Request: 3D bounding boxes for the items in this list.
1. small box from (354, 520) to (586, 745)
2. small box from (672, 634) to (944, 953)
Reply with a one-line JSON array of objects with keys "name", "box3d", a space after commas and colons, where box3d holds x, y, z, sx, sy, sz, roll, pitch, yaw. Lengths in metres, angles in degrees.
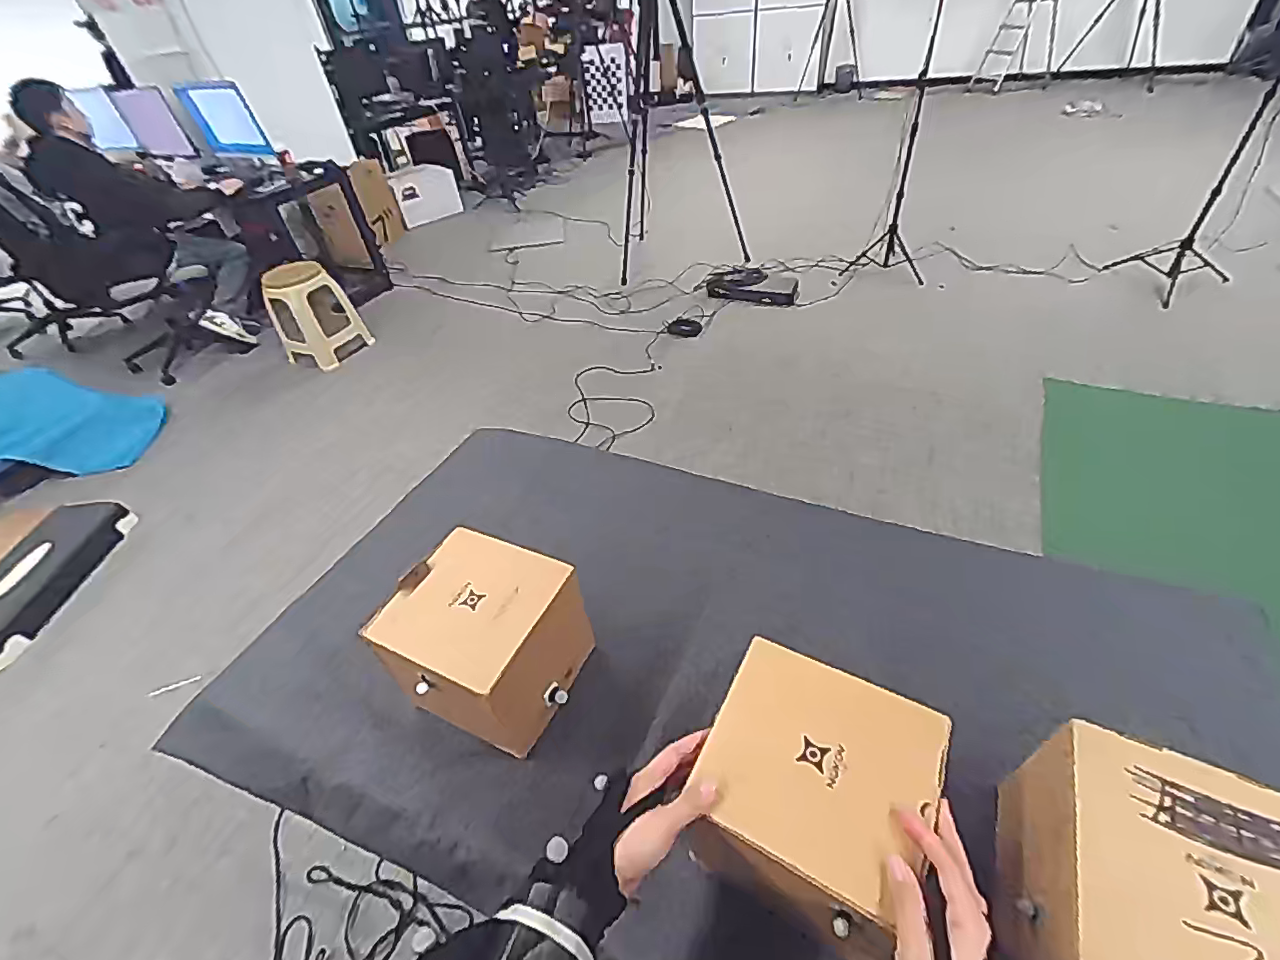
[{"name": "small box", "box3d": [-0.184, 0.180, 0.638, 0.179, 0.176, 0.168, 16, 48, 21]}, {"name": "small box", "box3d": [0.144, 0.280, 0.489, 0.179, 0.176, 0.168, 19, 48, 25]}]
